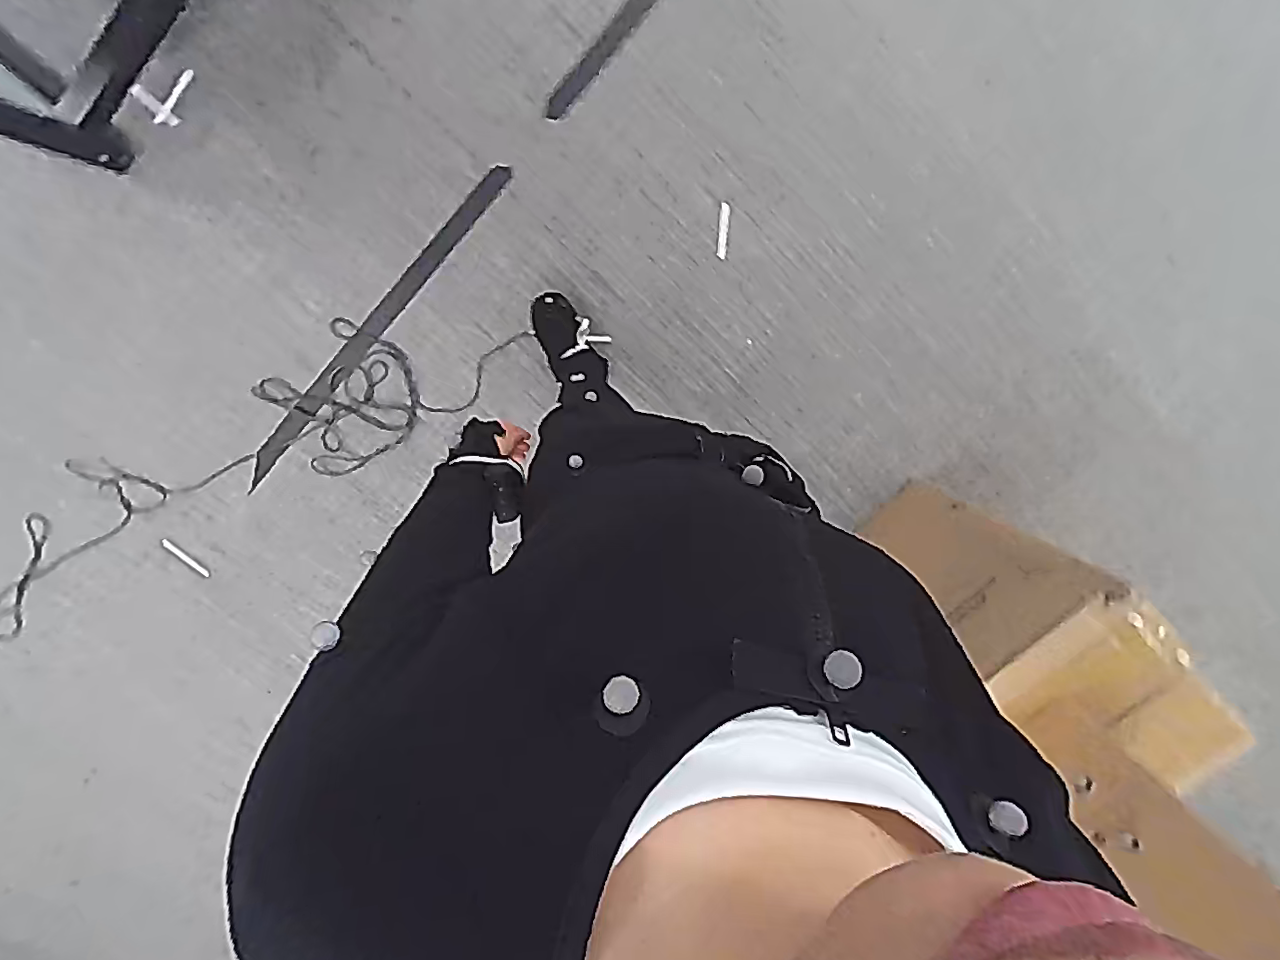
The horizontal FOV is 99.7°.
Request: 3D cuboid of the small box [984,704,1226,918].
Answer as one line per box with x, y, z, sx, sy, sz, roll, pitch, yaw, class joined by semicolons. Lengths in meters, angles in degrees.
0.662;0.472;0.794;0.179;0.176;0.168;-43;100;10;small box
